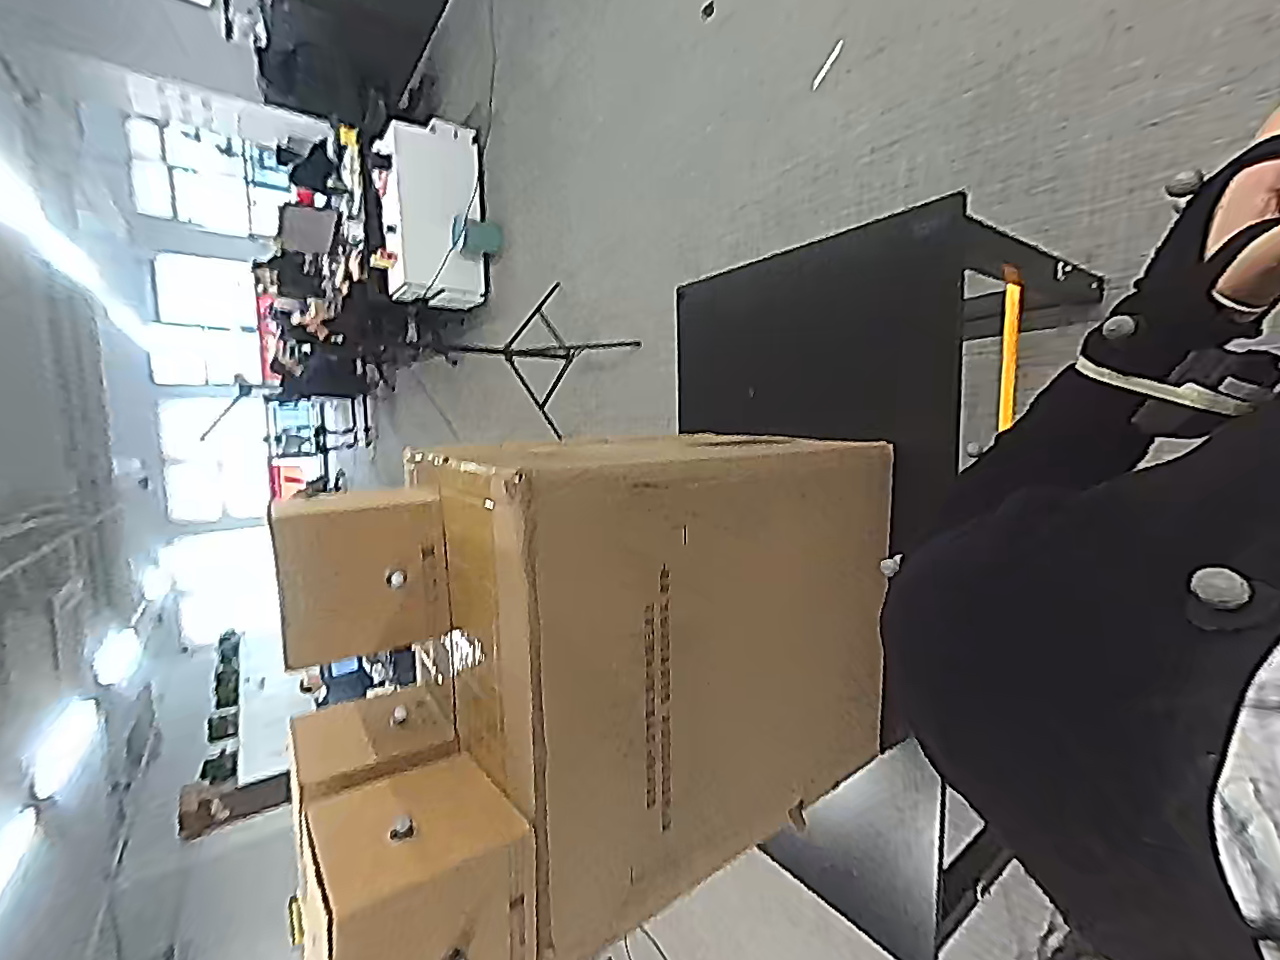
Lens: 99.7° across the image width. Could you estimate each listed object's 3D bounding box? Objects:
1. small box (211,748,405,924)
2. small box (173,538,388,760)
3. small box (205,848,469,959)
[{"bbox_3d":[-0.370,0.450,0.618,0.168,0.176,0.179,9,100,54],"label":"small box"},{"bbox_3d":[-0.384,0.164,0.596,0.179,0.176,0.168,6,101,55],"label":"small box"},{"bbox_3d":[-0.250,0.456,0.452,0.179,0.176,0.168,-1,91,51],"label":"small box"}]
